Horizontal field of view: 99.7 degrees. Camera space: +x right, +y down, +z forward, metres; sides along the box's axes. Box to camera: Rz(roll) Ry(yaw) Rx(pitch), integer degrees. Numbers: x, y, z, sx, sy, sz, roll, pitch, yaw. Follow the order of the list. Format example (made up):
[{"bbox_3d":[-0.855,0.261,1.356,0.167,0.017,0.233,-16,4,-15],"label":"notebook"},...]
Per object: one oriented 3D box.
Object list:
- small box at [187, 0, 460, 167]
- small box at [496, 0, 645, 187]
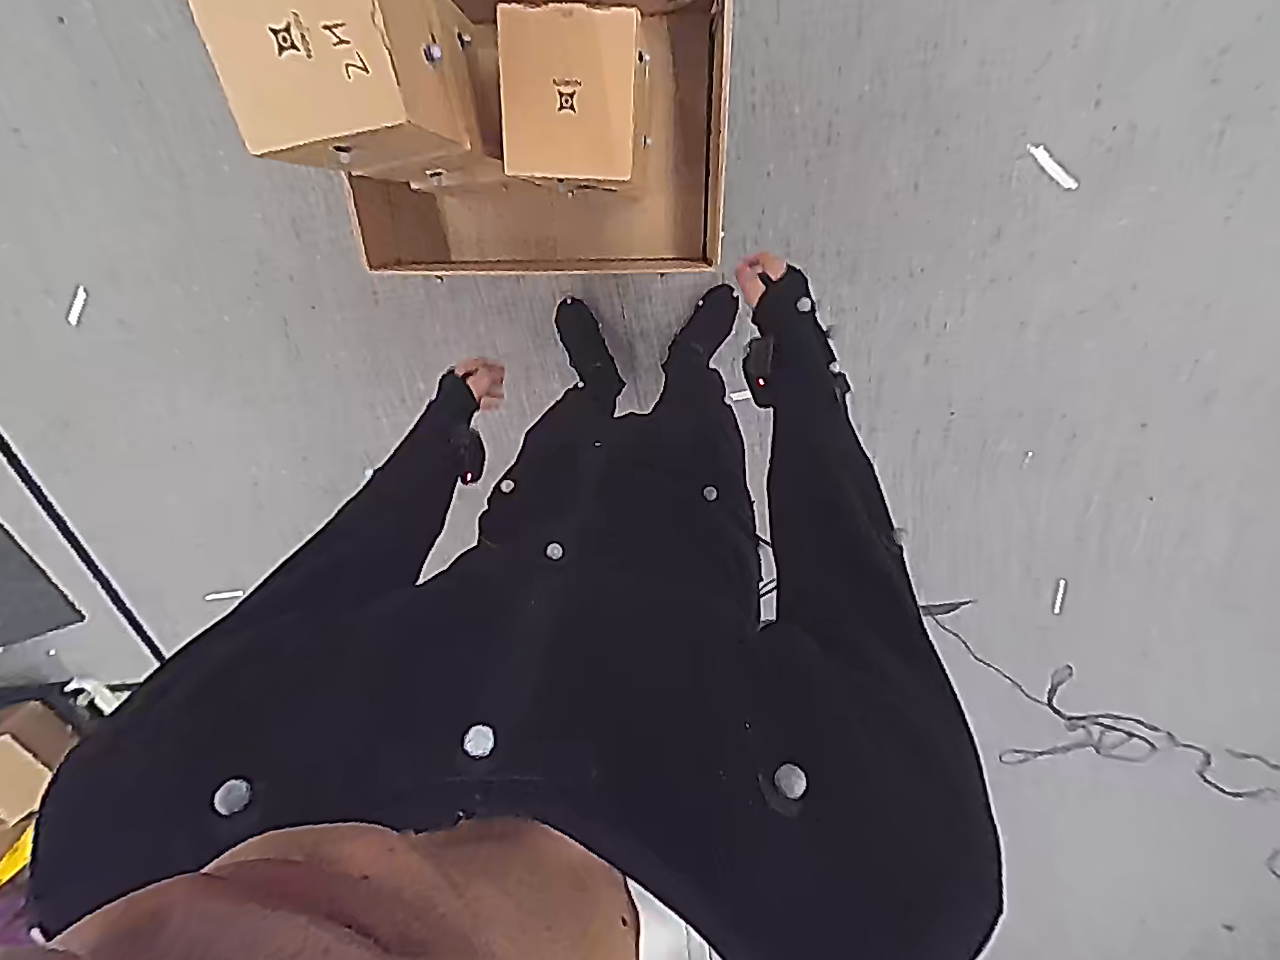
[{"bbox_3d":[-0.321,-0.446,0.577,0.179,0.176,0.168,-7,115,6],"label":"small box"},{"bbox_3d":[-0.083,-0.498,0.723,0.168,0.176,0.179,5,115,3],"label":"small box"}]
